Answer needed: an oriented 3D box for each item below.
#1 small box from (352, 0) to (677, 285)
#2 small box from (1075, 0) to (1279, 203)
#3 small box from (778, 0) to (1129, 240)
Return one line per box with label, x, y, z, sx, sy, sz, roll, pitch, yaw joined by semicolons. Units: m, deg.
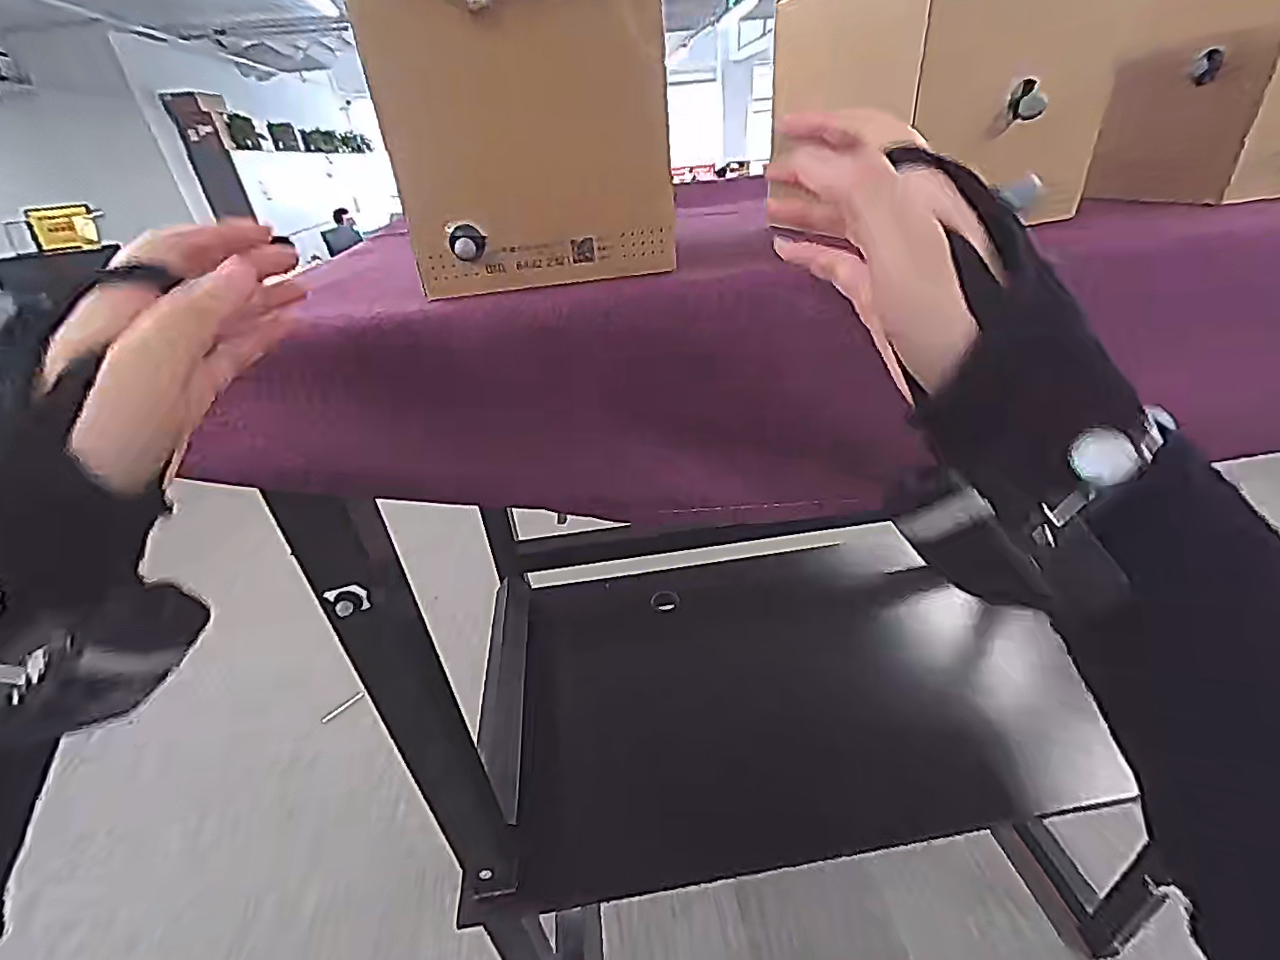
small box;-0.073;-0.240;0.382;0.168;0.176;0.179;-9;30;-7
small box;0.488;-0.330;0.445;0.168;0.176;0.179;-10;30;-8
small box;0.222;-0.288;0.416;0.168;0.176;0.179;-14;32;-13
